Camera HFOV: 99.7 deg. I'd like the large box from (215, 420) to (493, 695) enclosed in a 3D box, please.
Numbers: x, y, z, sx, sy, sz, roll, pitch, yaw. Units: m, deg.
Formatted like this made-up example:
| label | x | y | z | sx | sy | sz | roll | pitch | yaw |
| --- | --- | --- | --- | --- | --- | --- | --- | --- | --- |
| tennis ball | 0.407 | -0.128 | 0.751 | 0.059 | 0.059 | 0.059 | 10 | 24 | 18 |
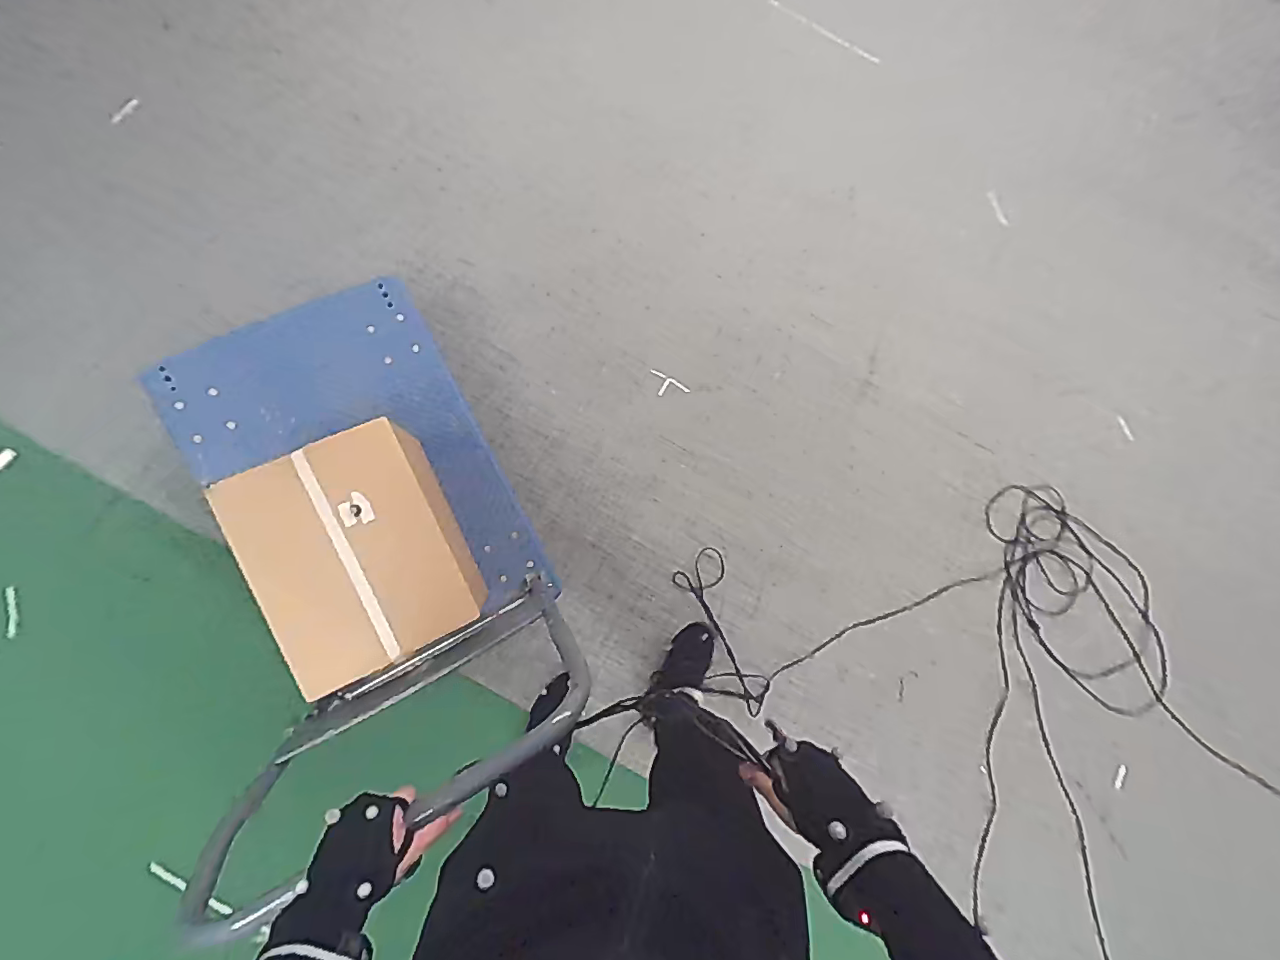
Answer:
| label | x | y | z | sx | sy | sz | roll | pitch | yaw |
| --- | --- | --- | --- | --- | --- | --- | --- | --- | --- |
| large box | -0.533 | 0.143 | 1.099 | 0.320 | 0.320 | 0.408 | -25 | 91 | -14 |
